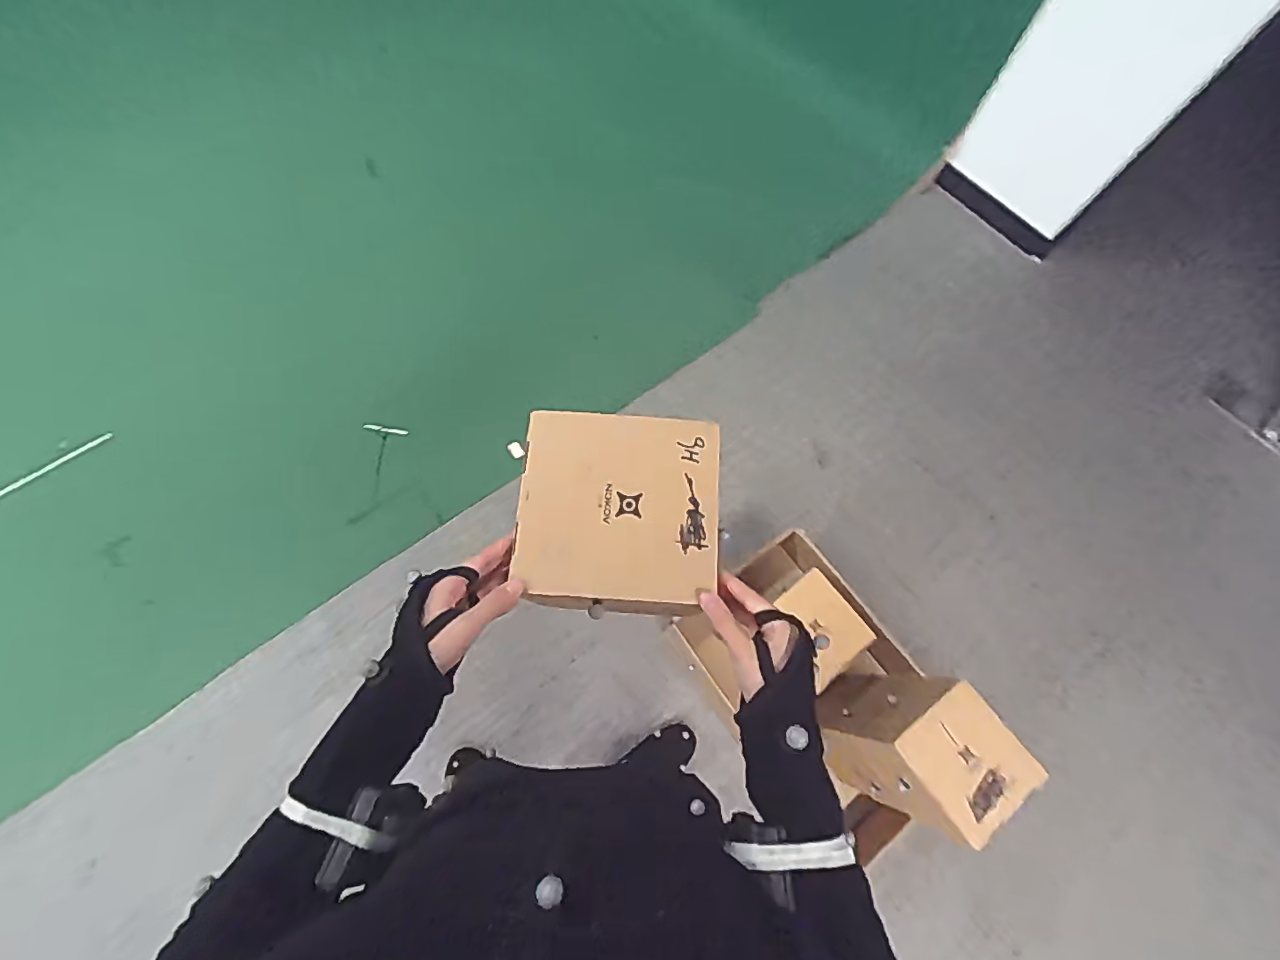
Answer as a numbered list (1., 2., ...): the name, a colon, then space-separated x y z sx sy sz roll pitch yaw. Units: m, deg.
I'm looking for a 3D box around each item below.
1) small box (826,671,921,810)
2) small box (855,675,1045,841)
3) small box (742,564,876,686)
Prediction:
1. small box: 0.488 0.495 1.049 0.179 0.176 0.168 -33 74 -13
2. small box: 0.496 0.446 0.895 0.168 0.176 0.179 -31 70 -12
3. small box: 0.336 0.303 1.116 0.168 0.176 0.179 -36 76 -14
